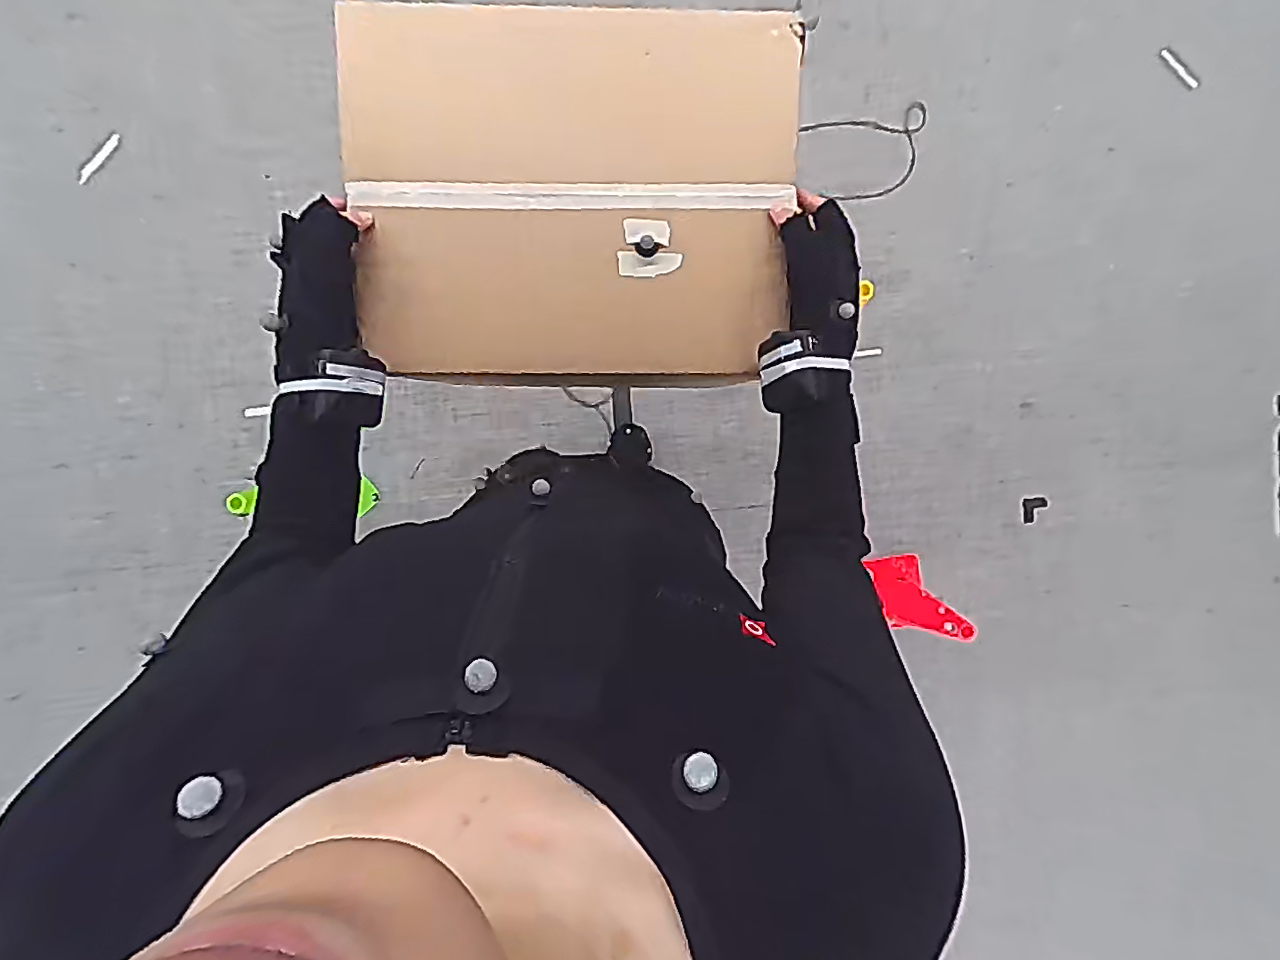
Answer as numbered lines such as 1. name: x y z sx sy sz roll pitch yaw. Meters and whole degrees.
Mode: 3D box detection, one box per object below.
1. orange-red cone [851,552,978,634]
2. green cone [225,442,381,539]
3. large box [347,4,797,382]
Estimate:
1. orange-red cone: 0.692 0.306 1.321 0.198 0.360 0.199 -8 90 -2
2. green cone: -0.821 0.035 1.272 0.202 0.368 0.200 -42 92 2
3. large box: -0.062 -0.285 0.642 0.408 0.320 0.320 -1 98 -2
